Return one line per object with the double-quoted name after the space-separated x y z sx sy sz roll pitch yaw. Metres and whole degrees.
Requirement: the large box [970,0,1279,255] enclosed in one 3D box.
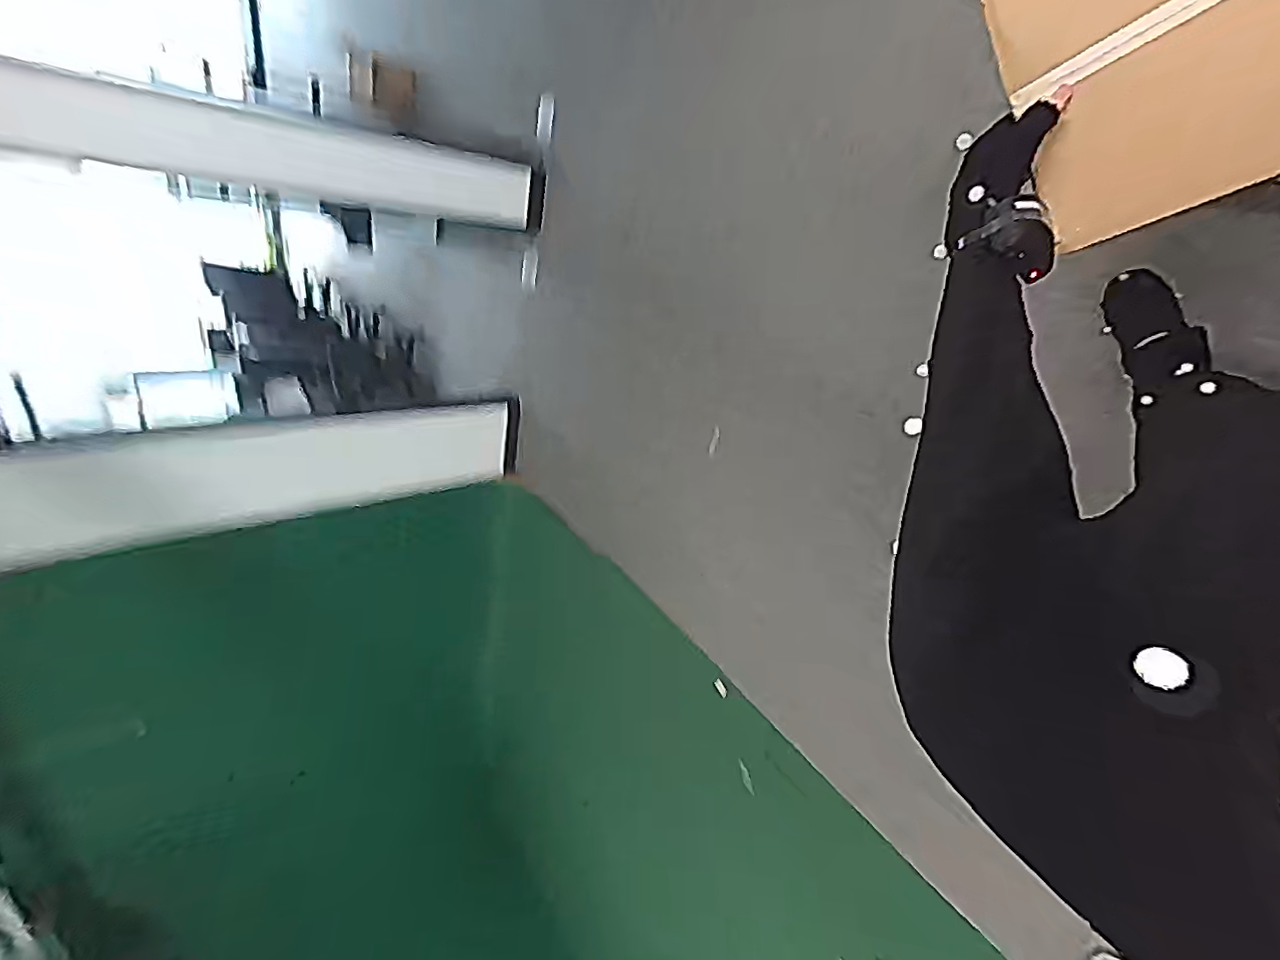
0.595 -0.462 0.494 0.408 0.320 0.320 -16 99 48 "large box"
